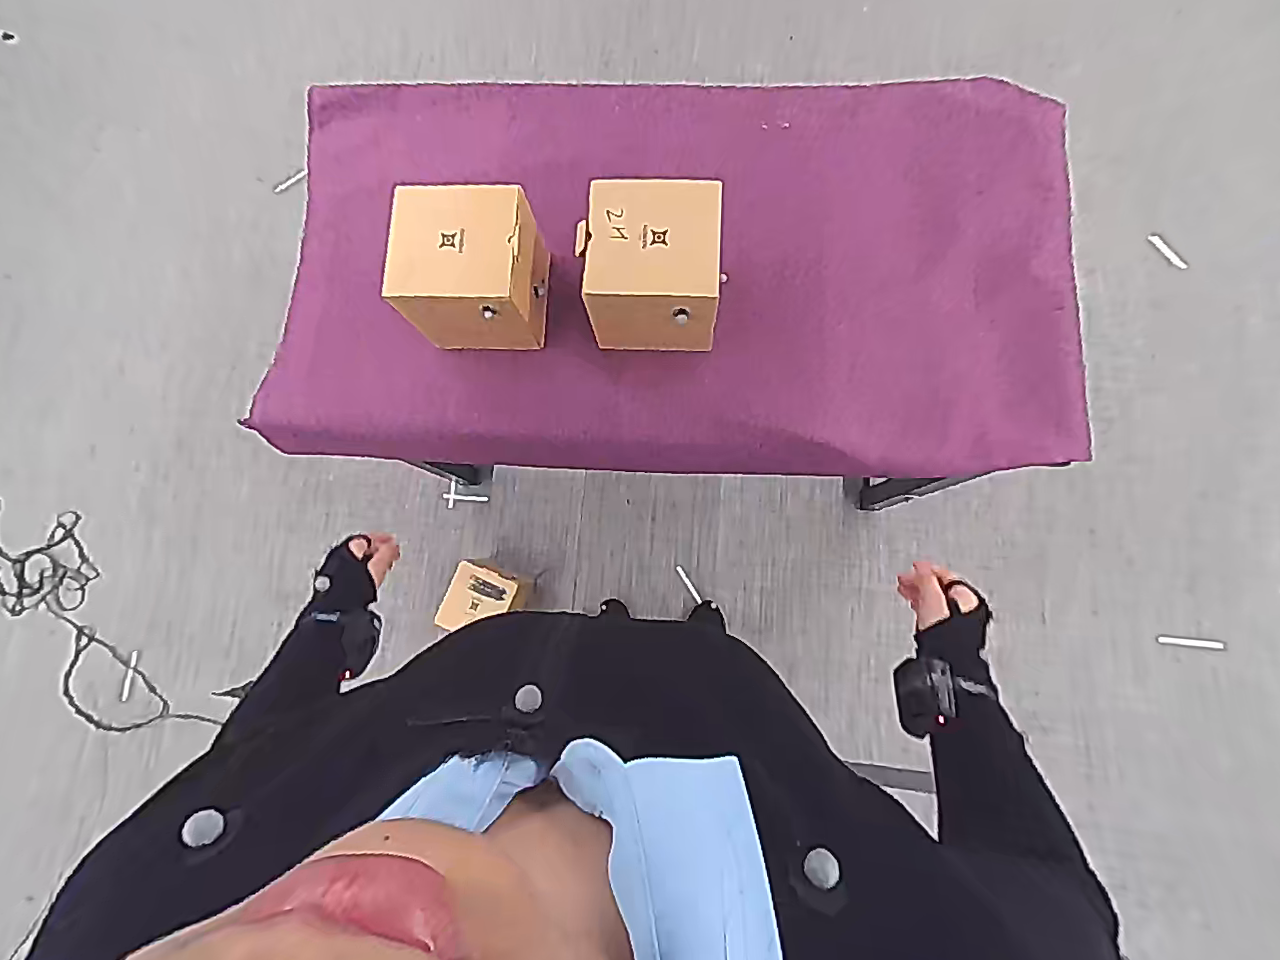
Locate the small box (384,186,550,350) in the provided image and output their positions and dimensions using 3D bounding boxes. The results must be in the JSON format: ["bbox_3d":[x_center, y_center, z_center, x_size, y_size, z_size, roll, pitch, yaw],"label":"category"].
[{"bbox_3d":[-0.242,-0.300,0.793,0.179,0.176,0.168,1,80,3],"label":"small box"}]
